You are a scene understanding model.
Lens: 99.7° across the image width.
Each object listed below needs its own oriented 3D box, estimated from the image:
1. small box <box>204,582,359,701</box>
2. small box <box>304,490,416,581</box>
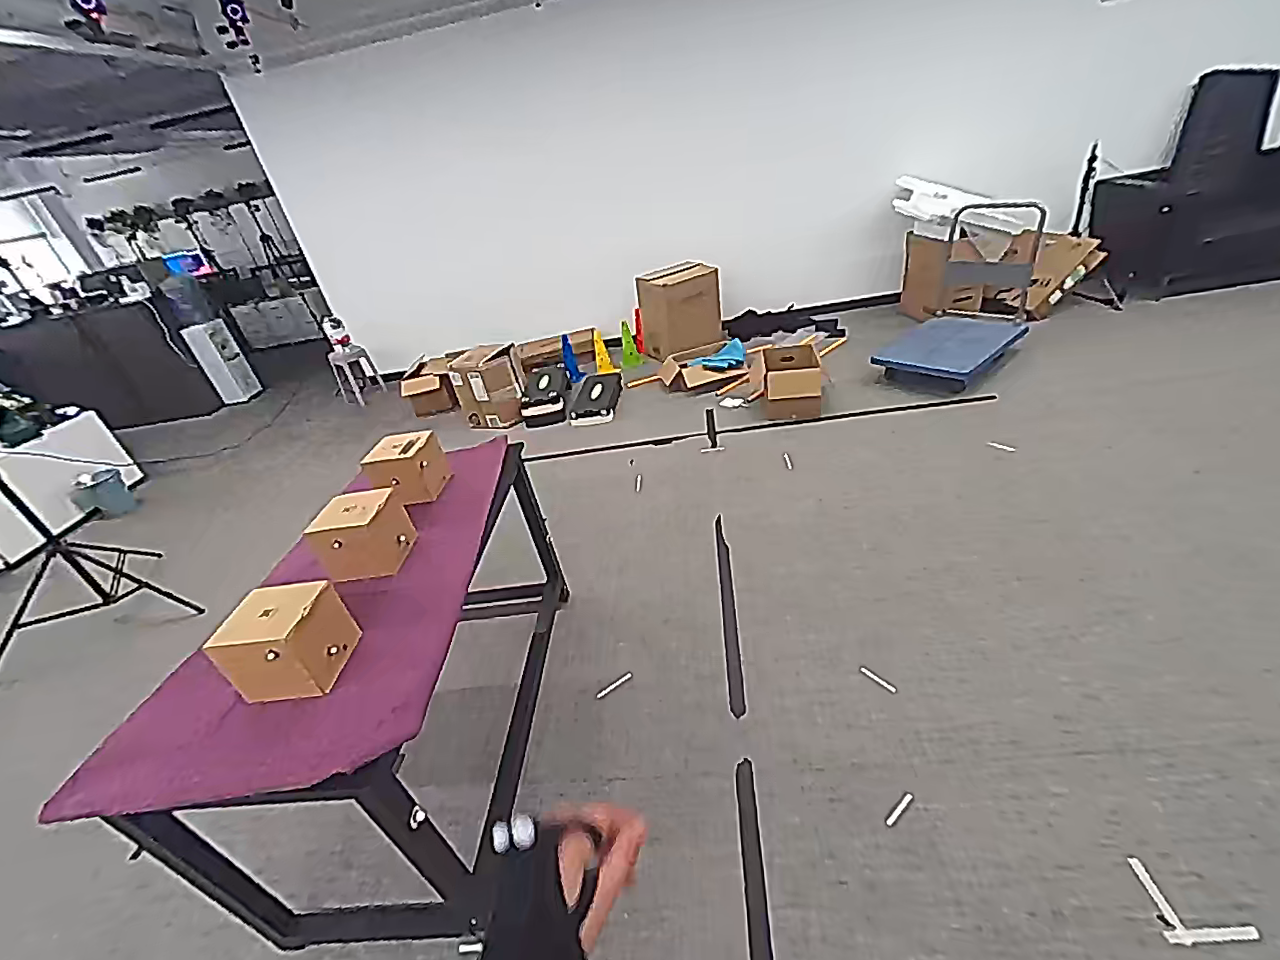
[{"bbox_3d":[-0.730,0.338,1.125,0.179,0.176,0.168,-7,31,5],"label":"small box"},{"bbox_3d":[-0.726,0.148,1.424,0.179,0.176,0.168,-8,32,6],"label":"small box"}]
